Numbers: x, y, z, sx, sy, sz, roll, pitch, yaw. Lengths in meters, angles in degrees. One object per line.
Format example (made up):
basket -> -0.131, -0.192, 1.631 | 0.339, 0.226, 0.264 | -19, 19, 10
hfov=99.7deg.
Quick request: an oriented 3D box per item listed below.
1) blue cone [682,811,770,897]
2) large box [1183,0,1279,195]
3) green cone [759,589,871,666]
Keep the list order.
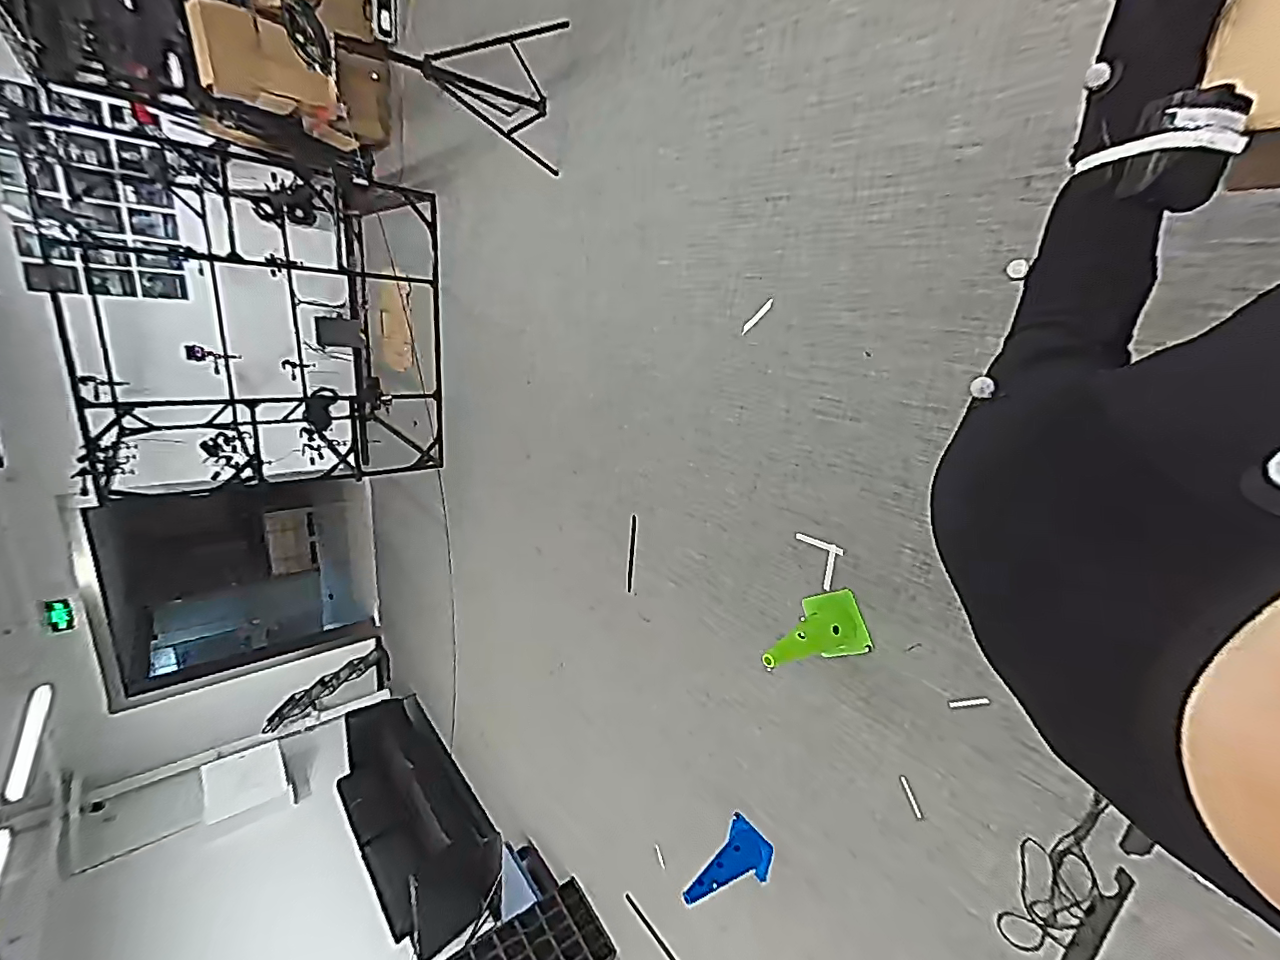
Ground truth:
blue cone -> 0.317, 1.500, 2.099 | 0.192, 0.380, 0.193 | 29, 119, 46
large box -> 0.625, -0.366, 0.288 | 0.408, 0.320, 0.320 | 22, 118, 45
green cone -> 0.496, 0.481, 1.640 | 0.202, 0.368, 0.200 | -33, 71, 51
